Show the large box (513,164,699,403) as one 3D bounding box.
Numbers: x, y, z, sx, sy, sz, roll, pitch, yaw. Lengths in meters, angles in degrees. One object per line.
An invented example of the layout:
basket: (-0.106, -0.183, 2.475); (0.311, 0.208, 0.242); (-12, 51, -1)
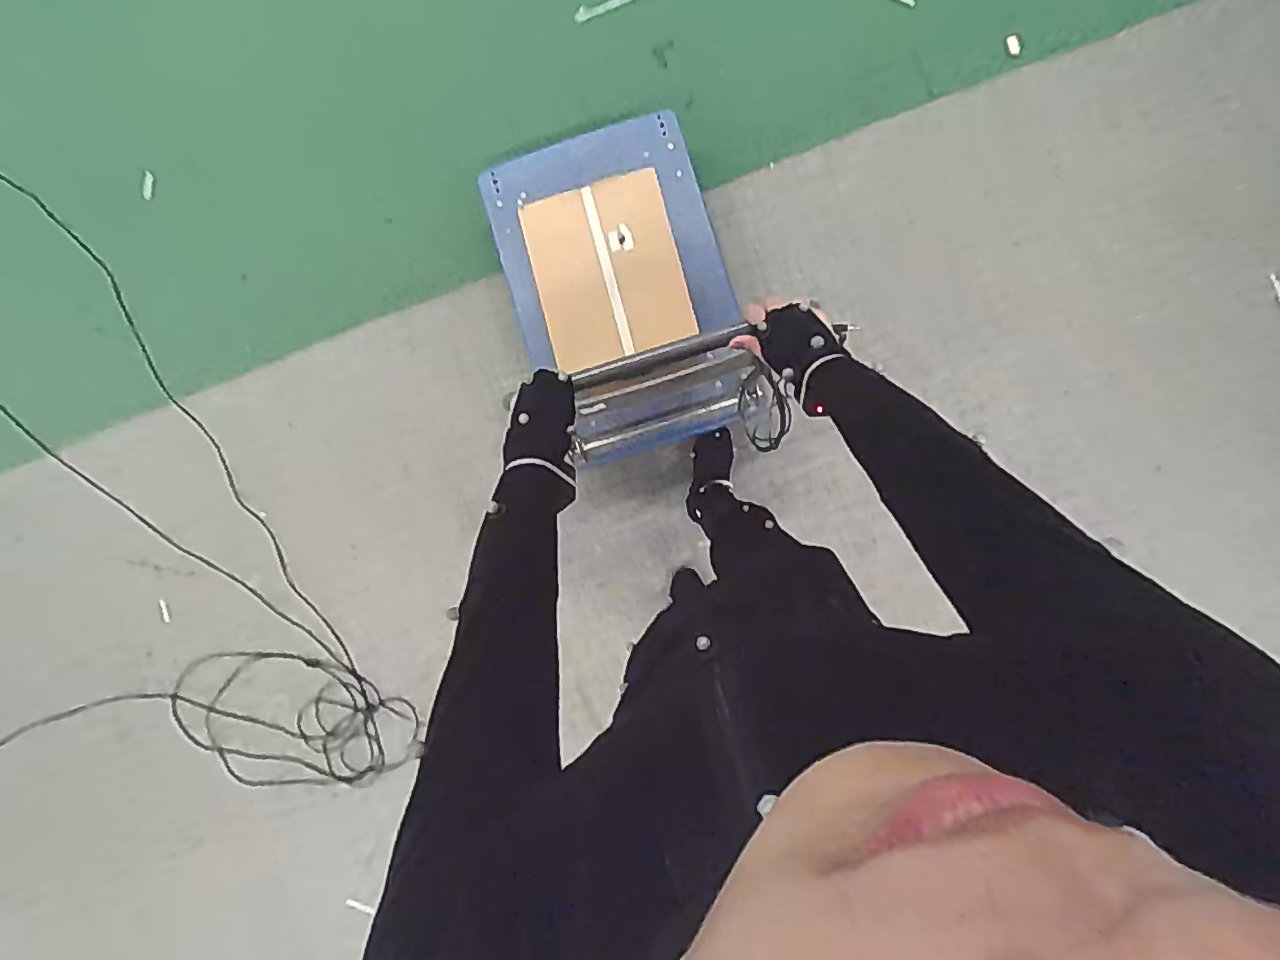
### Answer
large box: (-0.065, -0.437, 1.290); (0.320, 0.320, 0.408); (-15, 87, 2)
